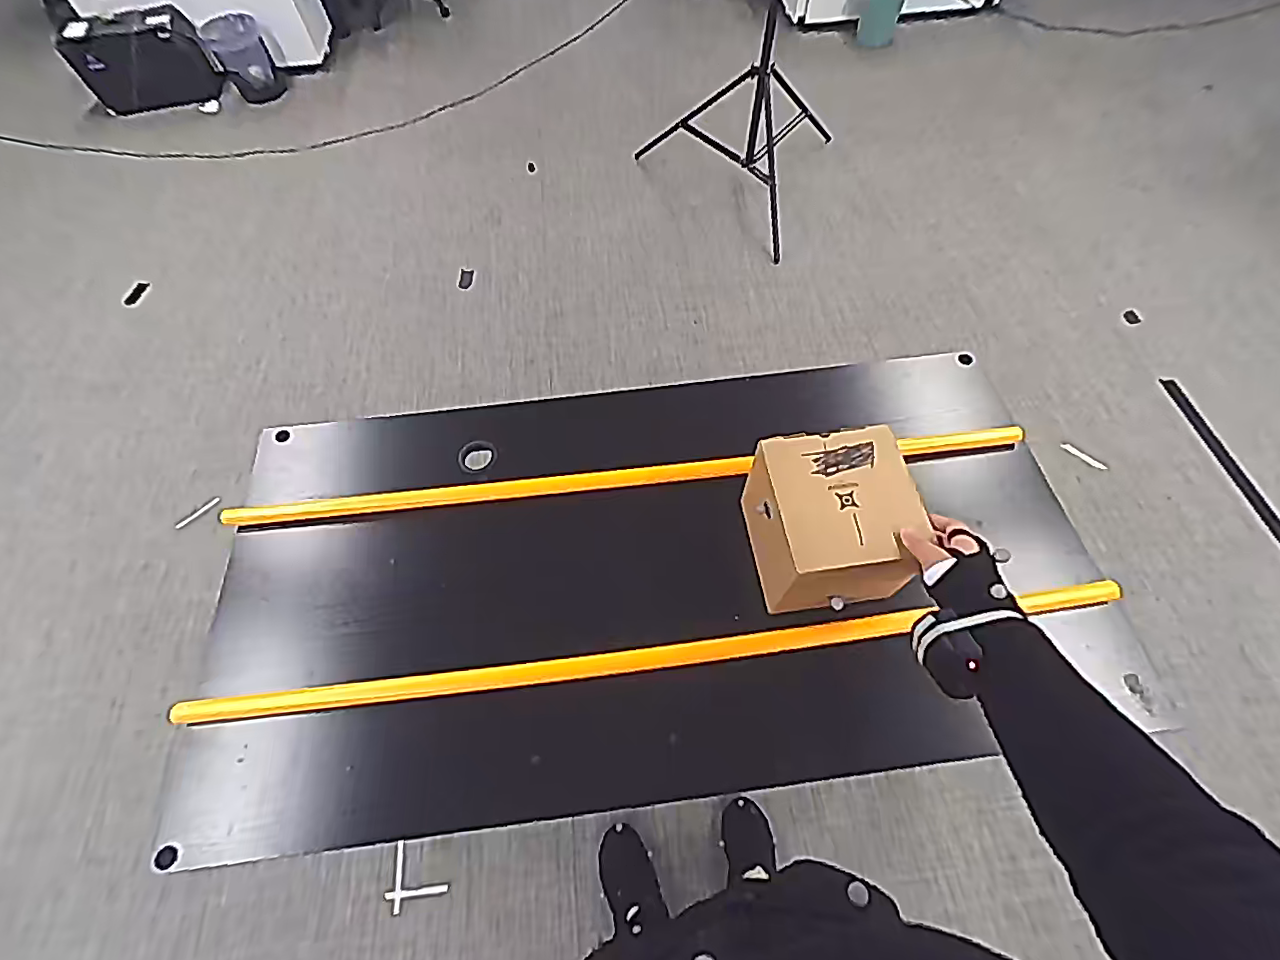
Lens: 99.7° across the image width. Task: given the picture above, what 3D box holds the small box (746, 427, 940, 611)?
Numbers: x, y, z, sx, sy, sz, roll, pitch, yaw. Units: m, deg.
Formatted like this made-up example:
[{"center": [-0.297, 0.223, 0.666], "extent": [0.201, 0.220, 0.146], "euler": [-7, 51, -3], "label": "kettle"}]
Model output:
[{"center": [0.243, 0.055, 0.701], "extent": [0.168, 0.176, 0.179], "euler": [-7, 61, -2], "label": "small box"}]
